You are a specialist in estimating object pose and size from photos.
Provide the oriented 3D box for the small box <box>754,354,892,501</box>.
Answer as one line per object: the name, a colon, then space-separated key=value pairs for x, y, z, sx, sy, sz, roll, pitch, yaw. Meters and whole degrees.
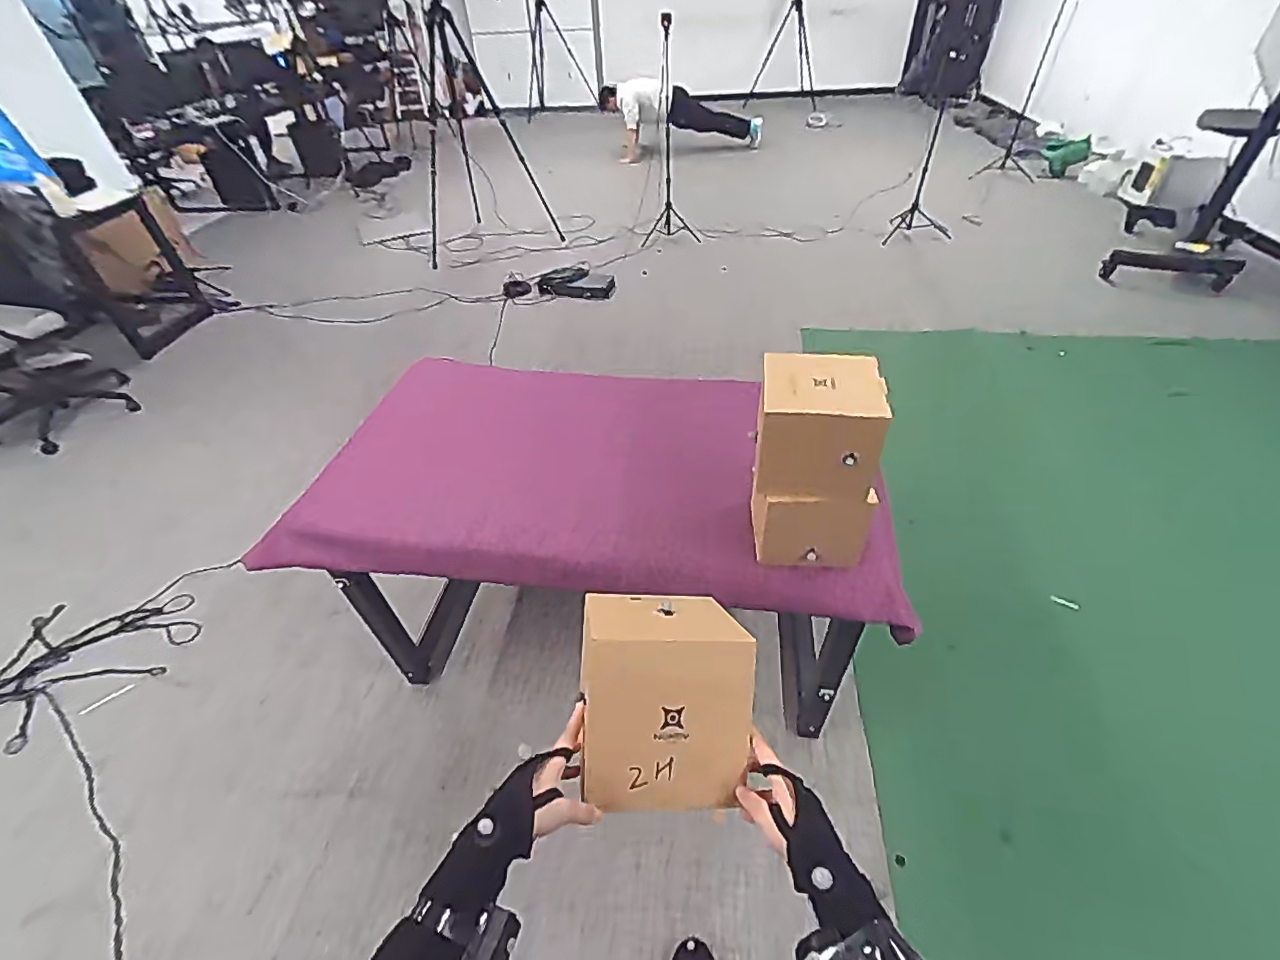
small box: x=0.279 y=-0.082 z=0.860 sx=0.179 sy=0.176 sz=0.168 roll=4 pitch=44 yaw=10

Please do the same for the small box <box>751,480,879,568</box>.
small box: x=0.299 y=0.043 z=0.964 sx=0.179 sy=0.176 sz=0.168 roll=1 pitch=43 yaw=5

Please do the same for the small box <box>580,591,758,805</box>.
small box: x=0.021 y=0.230 z=0.611 sx=0.168 sy=0.179 sz=0.176 roll=4 pitch=3 yaw=-7
